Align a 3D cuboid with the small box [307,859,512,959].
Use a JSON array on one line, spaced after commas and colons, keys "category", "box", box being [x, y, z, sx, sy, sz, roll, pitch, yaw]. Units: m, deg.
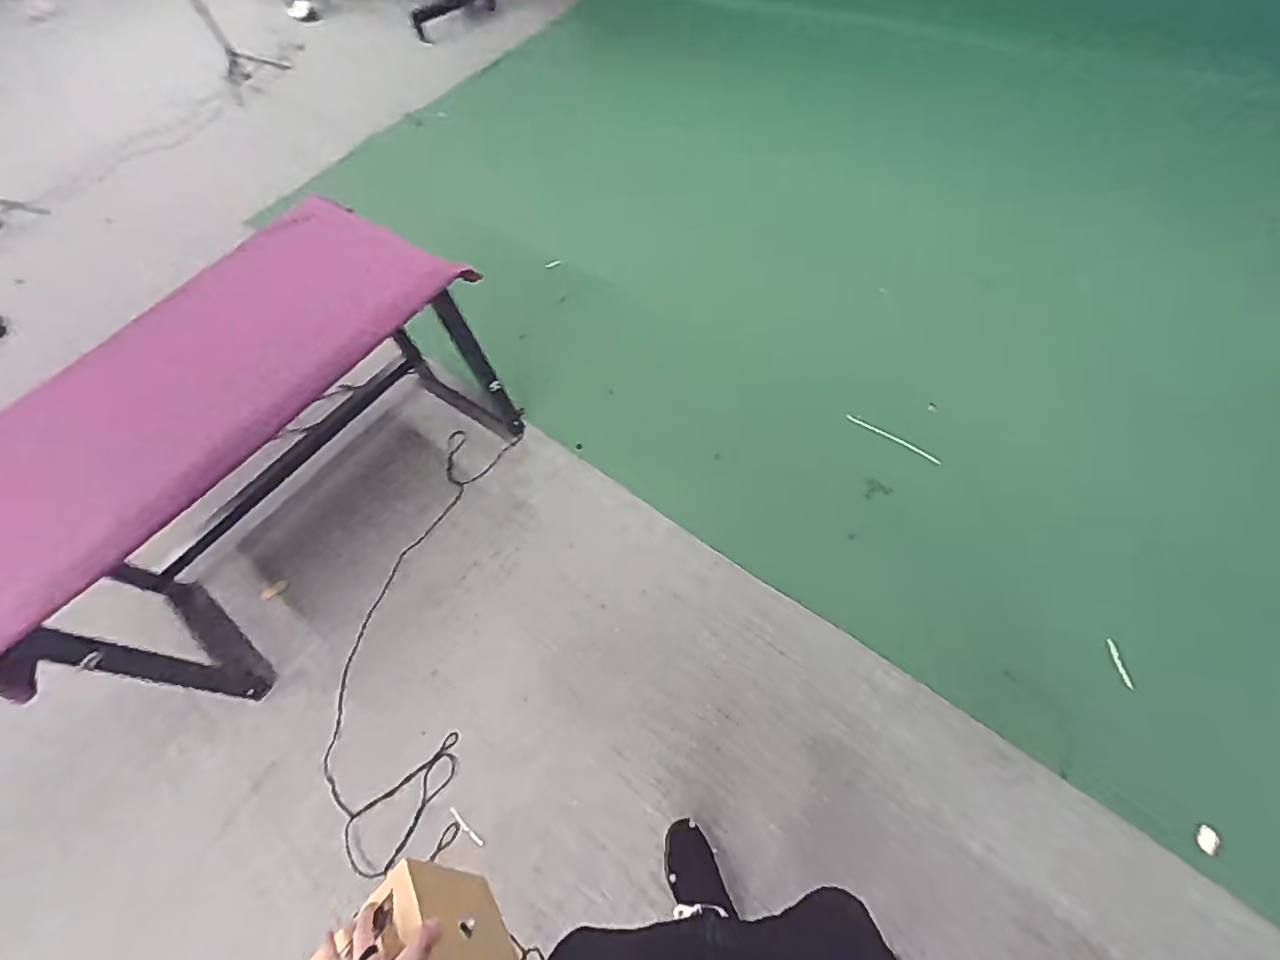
[{"category": "small box", "box": [-0.279, 0.624, 0.669, 0.168, 0.176, 0.179, -47, 42, -13]}]
